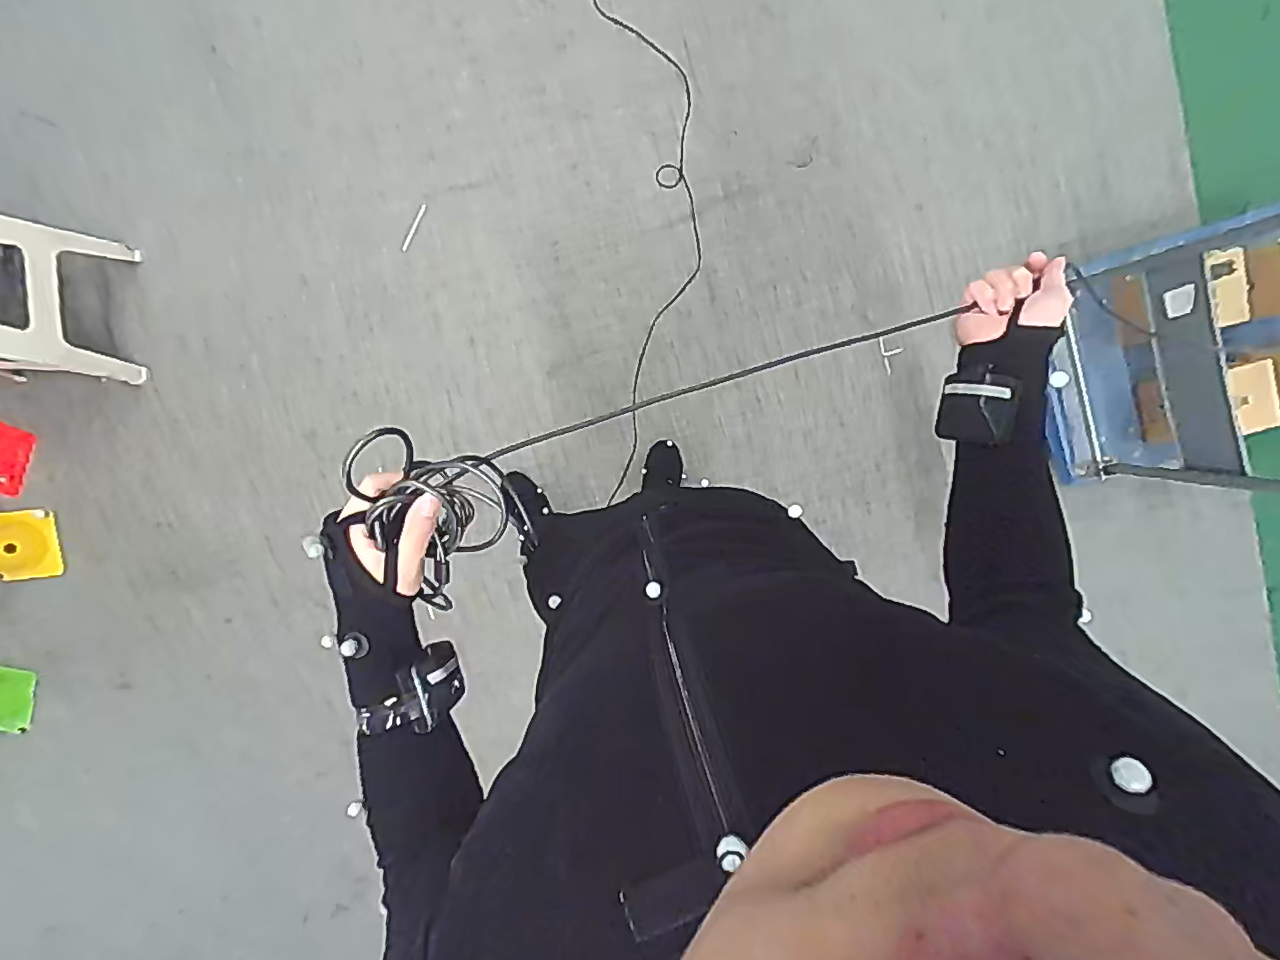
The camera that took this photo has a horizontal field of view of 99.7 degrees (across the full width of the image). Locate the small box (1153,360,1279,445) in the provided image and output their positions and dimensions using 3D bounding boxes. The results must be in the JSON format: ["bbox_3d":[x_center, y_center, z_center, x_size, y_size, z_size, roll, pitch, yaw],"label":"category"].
[{"bbox_3d":[1.442,-0.191,1.338,0.179,0.176,0.168,-16,95,2],"label":"small box"}]

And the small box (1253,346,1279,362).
[{"bbox_3d":[1.700,-0.270,1.331,0.179,0.176,0.168,-21,94,3],"label":"small box"}]

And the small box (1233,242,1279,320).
[{"bbox_3d":[1.609,-0.504,1.311,0.179,0.176,0.168,-21,95,2],"label":"small box"}]
